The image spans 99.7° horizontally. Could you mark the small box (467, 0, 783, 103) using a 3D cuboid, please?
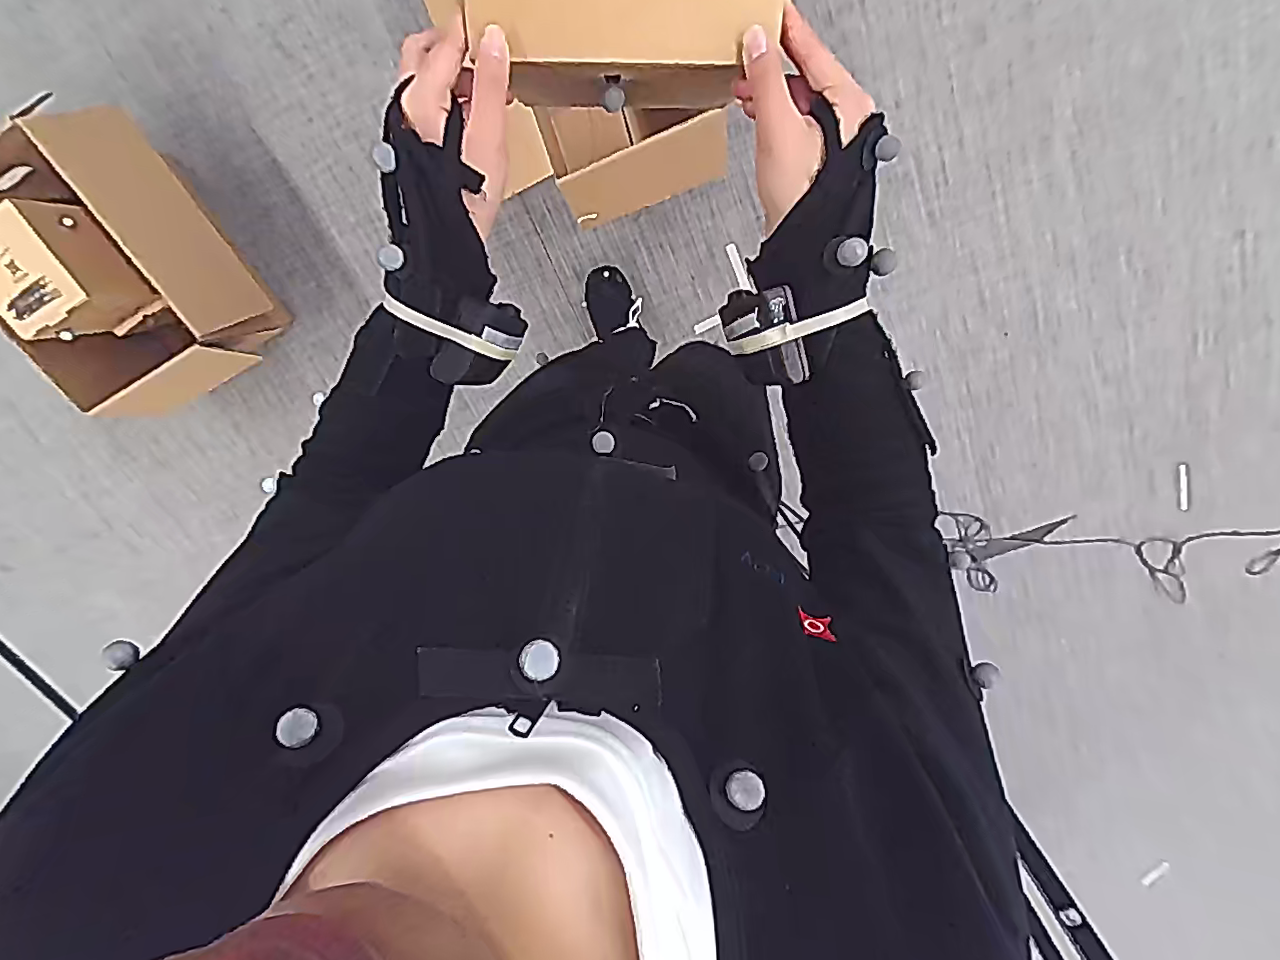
[{"bbox_3d":[-0.008,-0.350,0.339,0.179,0.176,0.168,0,117,0],"label":"small box"}]
